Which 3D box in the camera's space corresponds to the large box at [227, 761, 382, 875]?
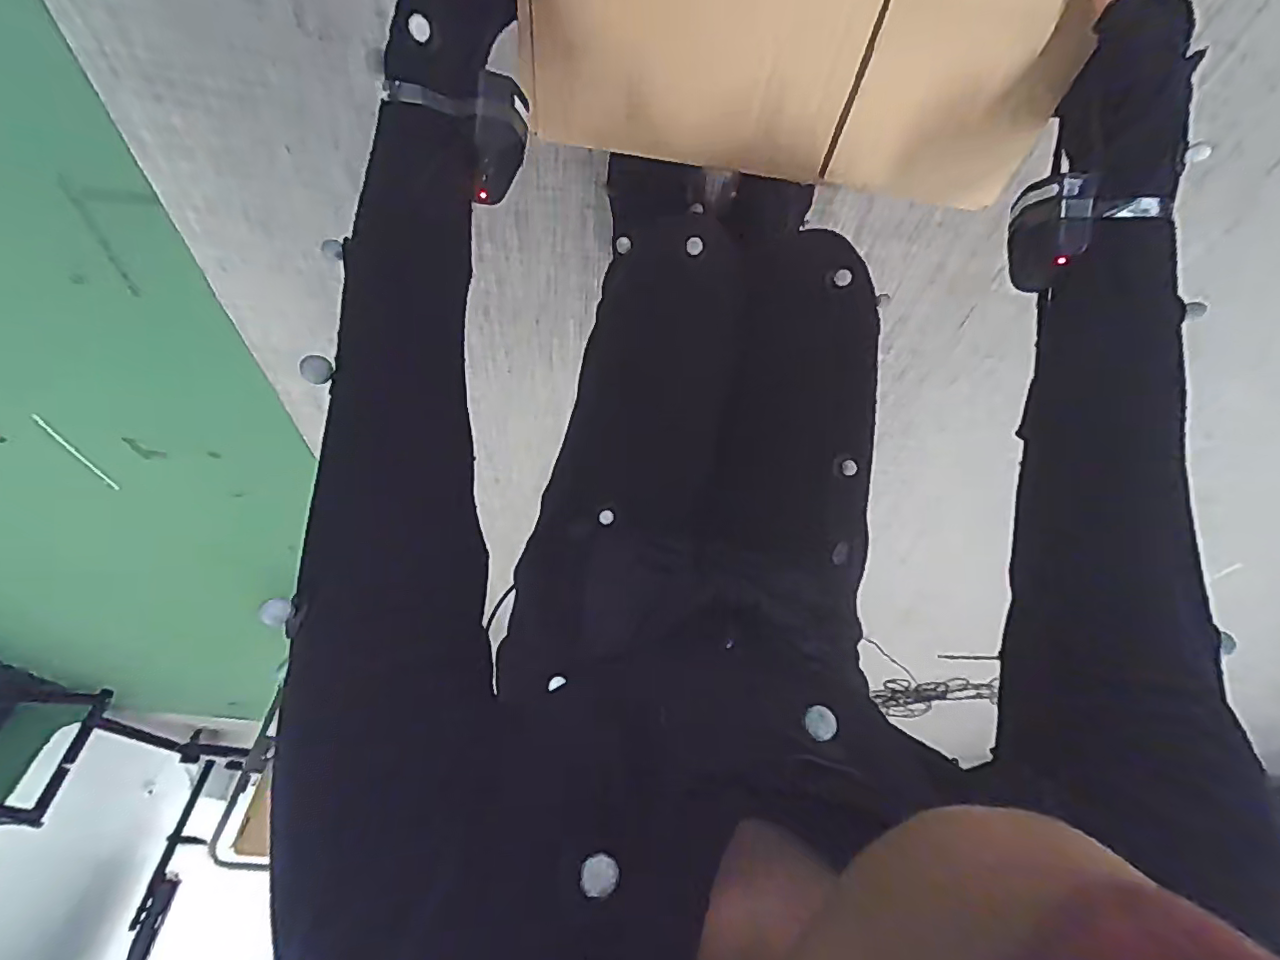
[{"bbox_3d":[-1.280,1.295,2.082,0.408,0.320,0.320,28,141,-26],"label":"large box"}]
